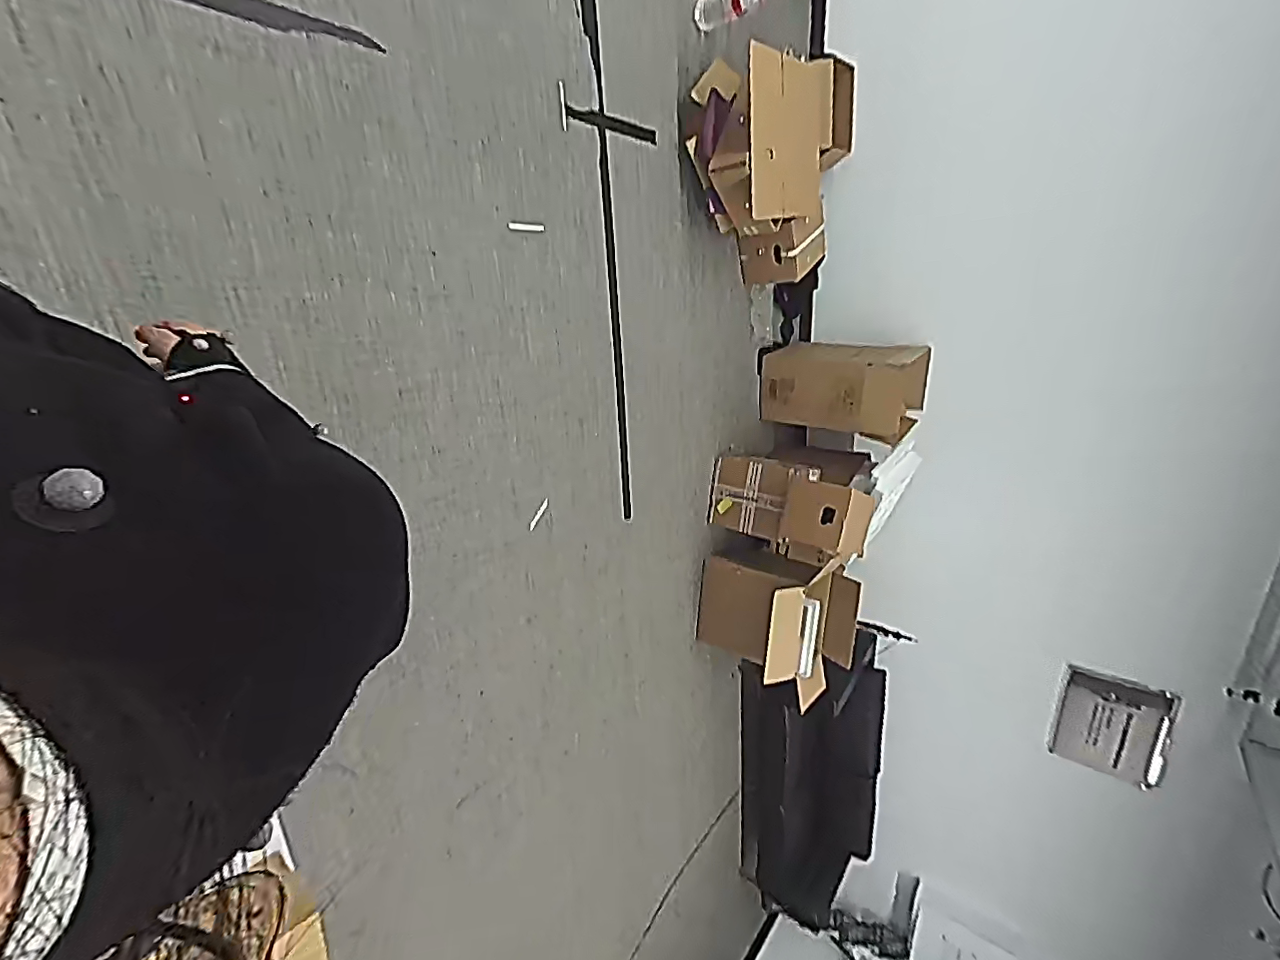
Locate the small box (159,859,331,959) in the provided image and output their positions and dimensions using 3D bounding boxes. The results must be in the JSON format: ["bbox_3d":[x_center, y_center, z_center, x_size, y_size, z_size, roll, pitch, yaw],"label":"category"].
[{"bbox_3d":[-0.600,0.732,0.830,0.168,0.176,0.179,-19,114,-49],"label":"small box"}]
